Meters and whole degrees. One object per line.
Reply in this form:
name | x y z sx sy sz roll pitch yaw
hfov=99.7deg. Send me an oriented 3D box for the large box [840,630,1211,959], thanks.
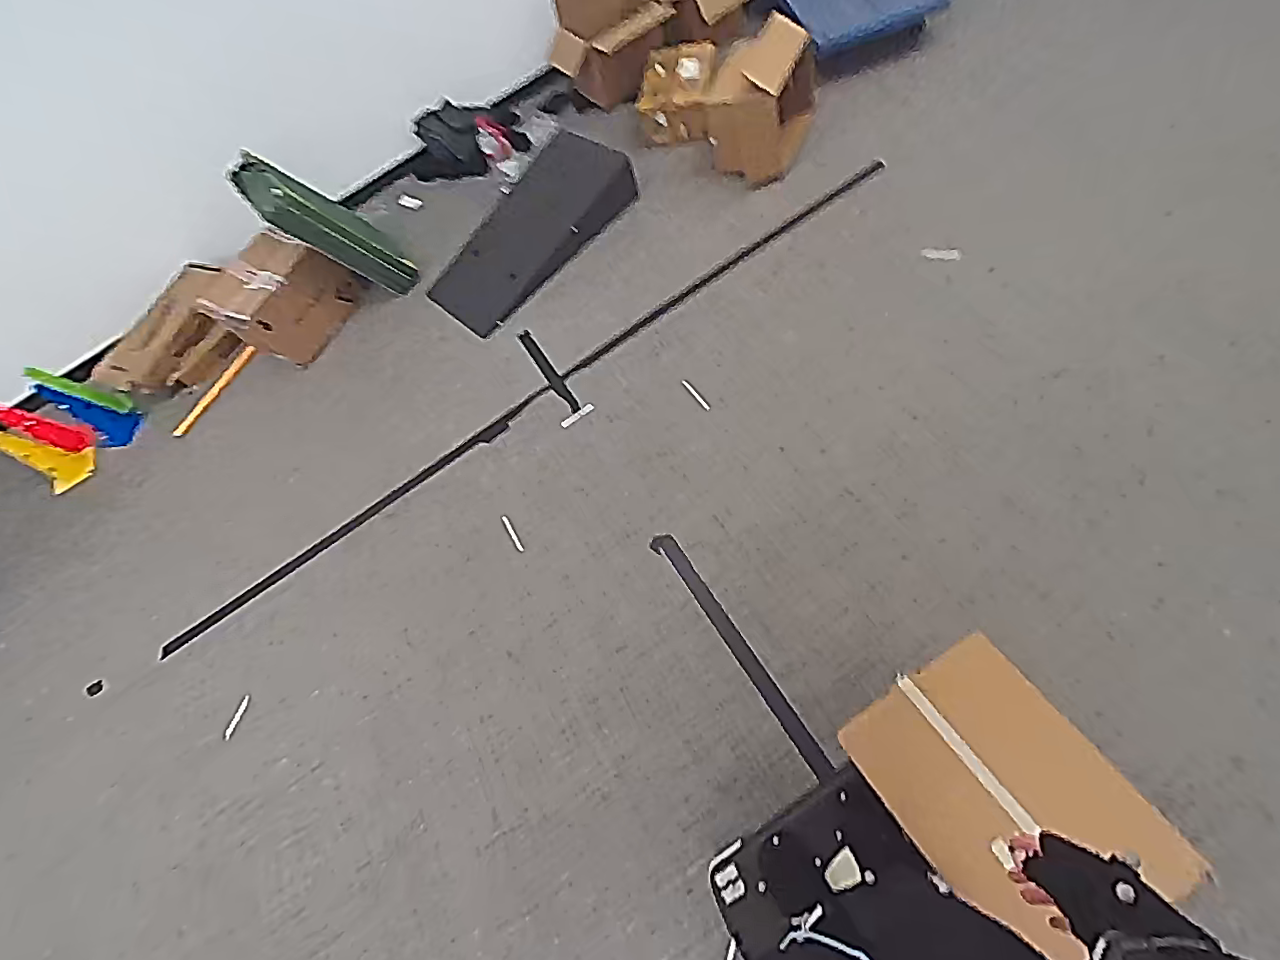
large box | 0.623 0.540 0.984 0.320 0.320 0.408 -39 62 3
